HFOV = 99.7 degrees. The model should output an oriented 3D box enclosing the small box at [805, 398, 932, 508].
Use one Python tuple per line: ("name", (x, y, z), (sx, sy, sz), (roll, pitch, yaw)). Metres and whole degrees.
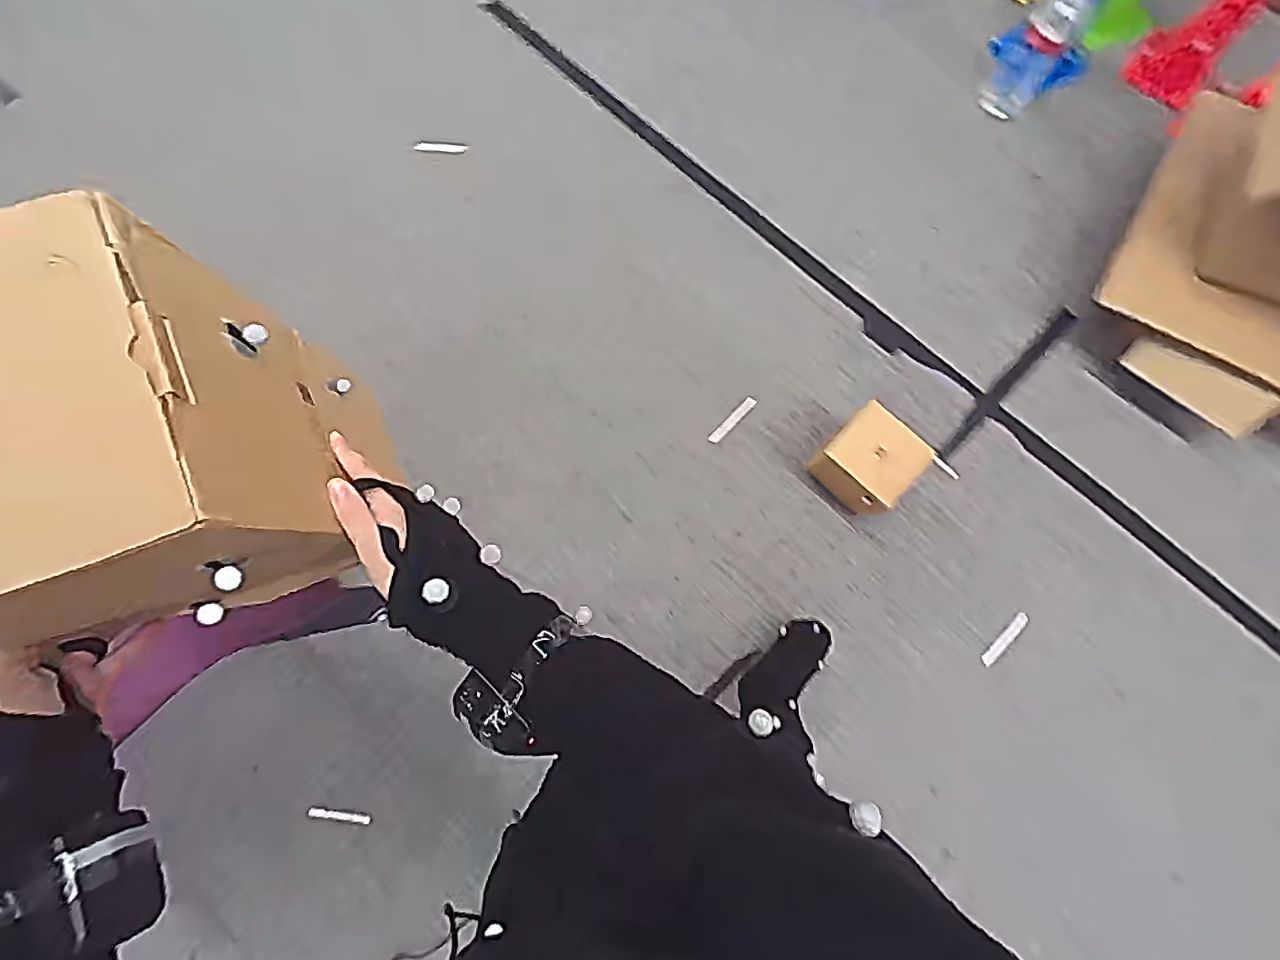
("small box", (0.504, -0.051, 1.225), (0.179, 0.176, 0.168), (42, 84, 6))
